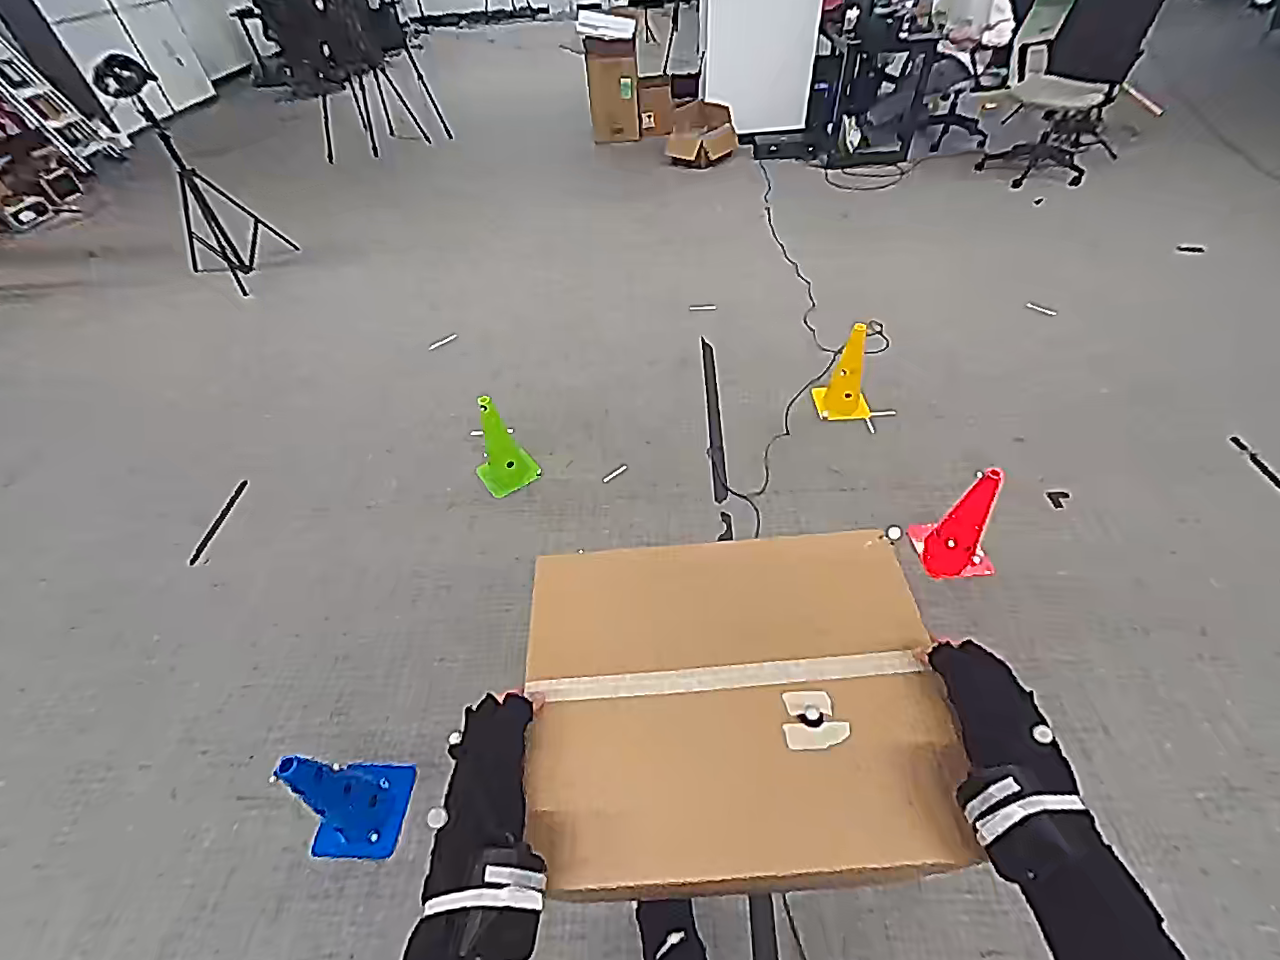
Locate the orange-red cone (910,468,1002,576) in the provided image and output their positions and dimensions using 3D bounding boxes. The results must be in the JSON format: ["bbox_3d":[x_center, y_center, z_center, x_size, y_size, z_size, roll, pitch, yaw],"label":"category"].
[{"bbox_3d":[0.960,0.100,1.574,0.198,0.360,0.199,-3,46,1],"label":"orange-red cone"}]

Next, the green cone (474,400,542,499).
[{"bbox_3d":[-0.515,-0.141,1.935,0.202,0.368,0.200,-32,51,-20],"label":"green cone"}]

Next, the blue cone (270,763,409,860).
[{"bbox_3d":[-0.683,0.698,1.194,0.192,0.380,0.193,-1,47,6],"label":"blue cone"}]

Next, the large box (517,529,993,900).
[{"bbox_3d":[0.093,0.287,0.650,0.408,0.320,0.320,-5,50,1],"label":"large box"}]
